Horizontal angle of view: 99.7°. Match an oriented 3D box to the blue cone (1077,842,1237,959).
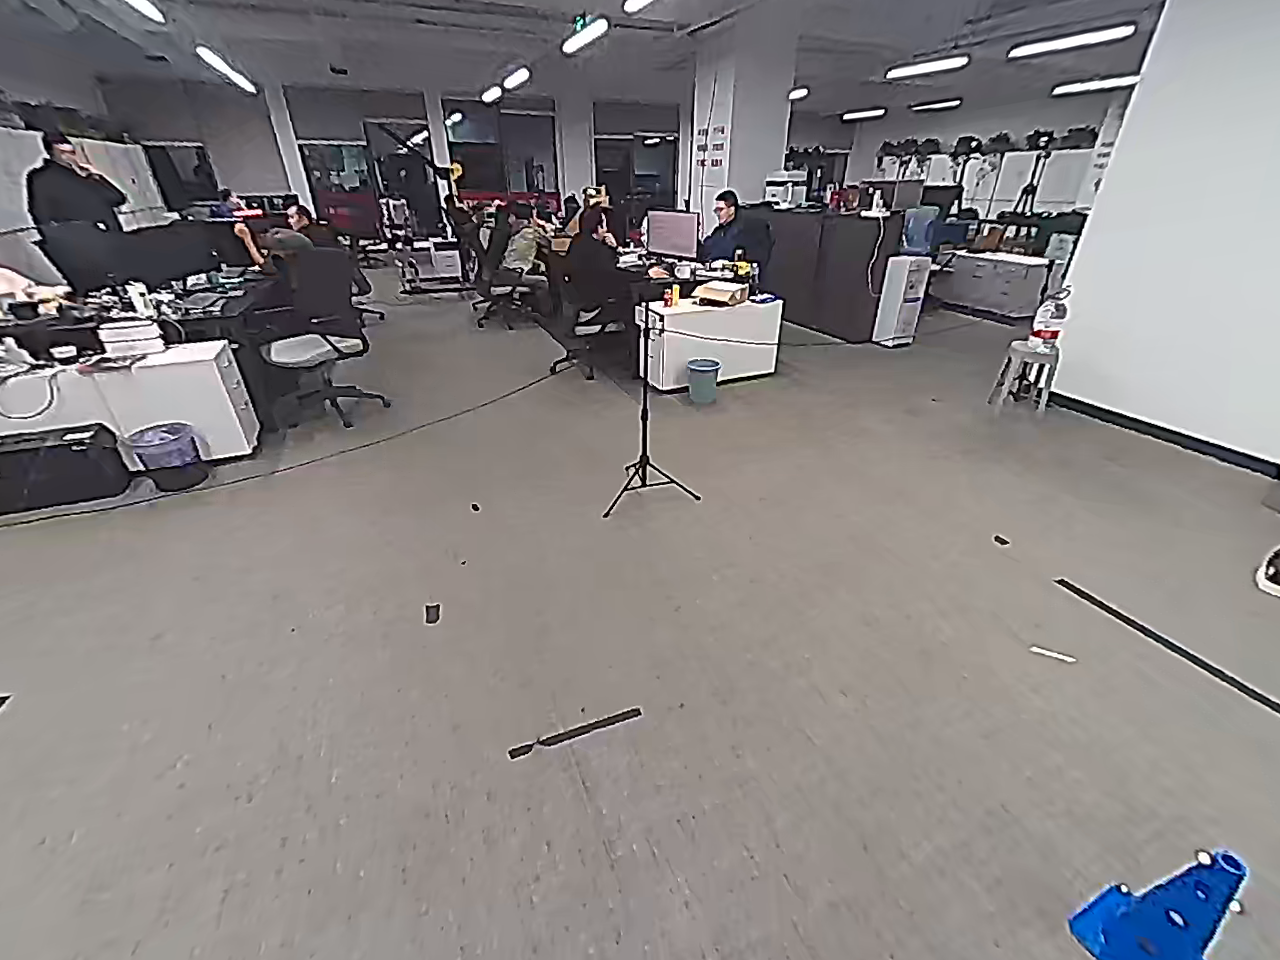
[{"bbox_3d":[1.050,0.834,1.045,0.193,0.380,0.192,-12,30,-19],"label":"blue cone"}]
